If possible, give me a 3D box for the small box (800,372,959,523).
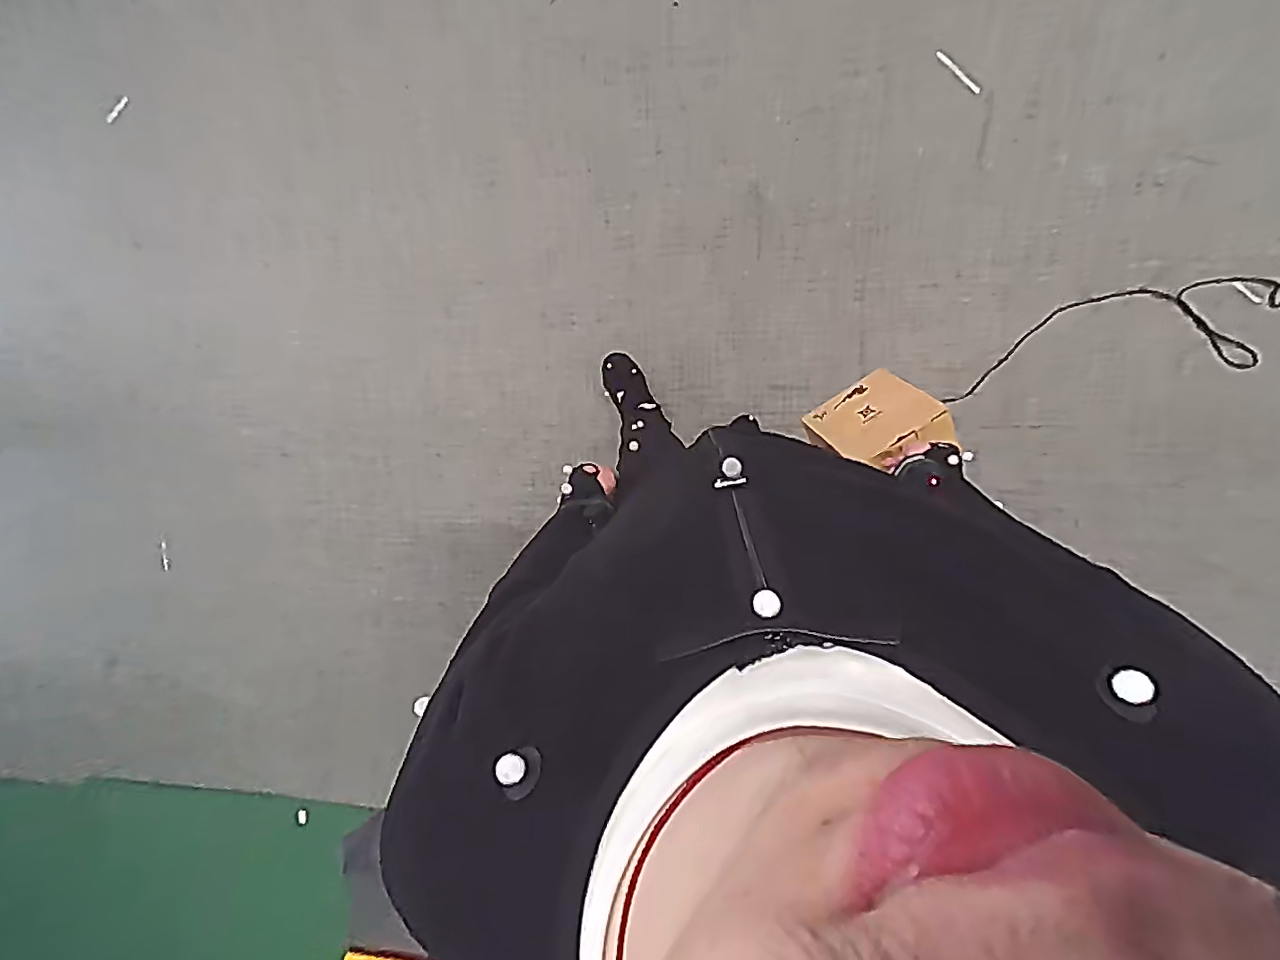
[{"bbox_3d":[0.414,-0.050,0.935,0.168,0.179,0.176,-35,126,5],"label":"small box"}]
